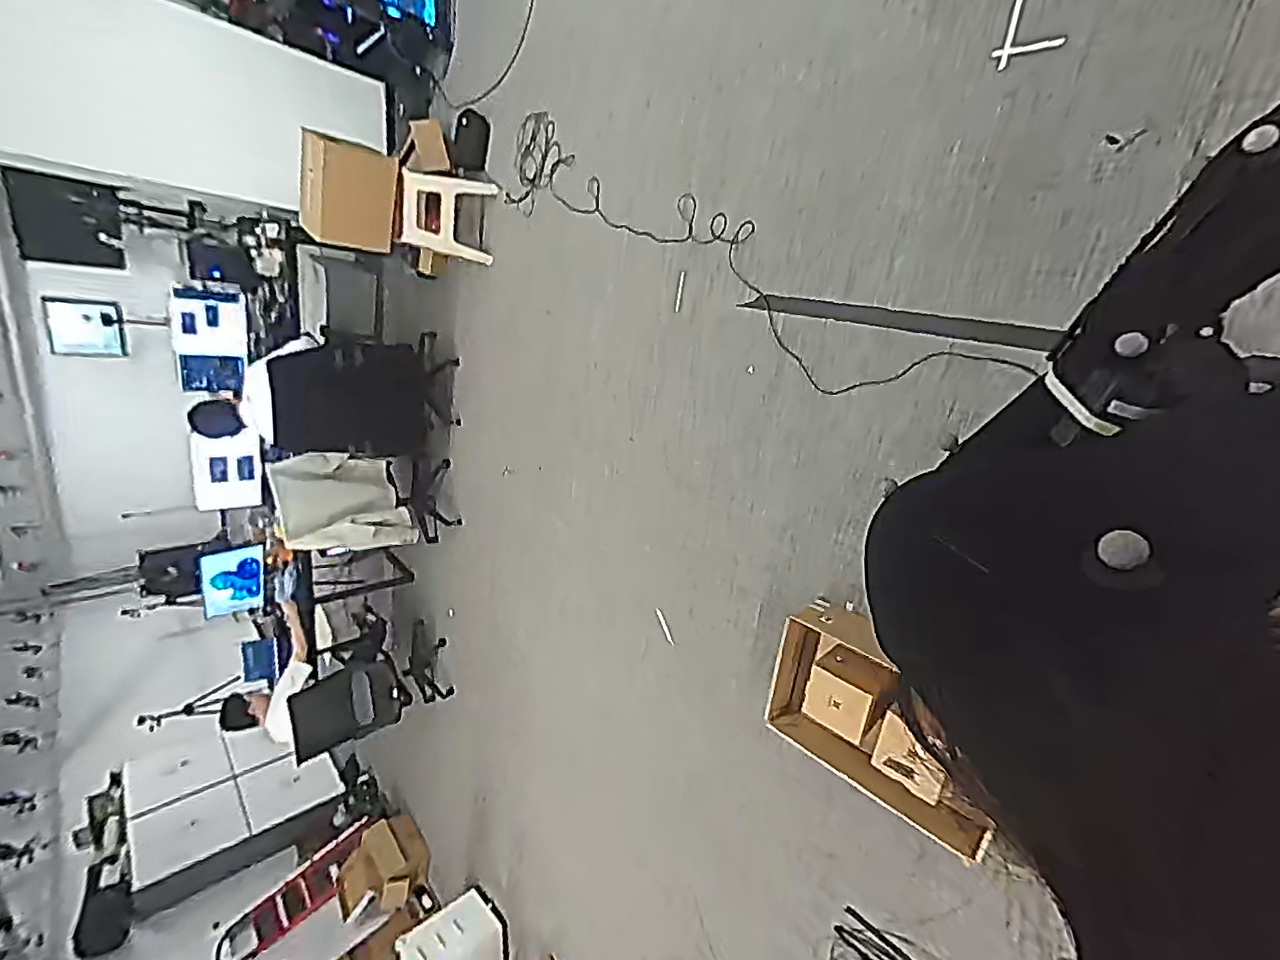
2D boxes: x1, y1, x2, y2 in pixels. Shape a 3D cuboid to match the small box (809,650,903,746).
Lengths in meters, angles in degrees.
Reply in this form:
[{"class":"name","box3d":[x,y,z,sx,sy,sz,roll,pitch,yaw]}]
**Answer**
[{"class":"small box","box3d":[0.615,0.607,1.540,0.179,0.176,0.168,22,112,40]}]
